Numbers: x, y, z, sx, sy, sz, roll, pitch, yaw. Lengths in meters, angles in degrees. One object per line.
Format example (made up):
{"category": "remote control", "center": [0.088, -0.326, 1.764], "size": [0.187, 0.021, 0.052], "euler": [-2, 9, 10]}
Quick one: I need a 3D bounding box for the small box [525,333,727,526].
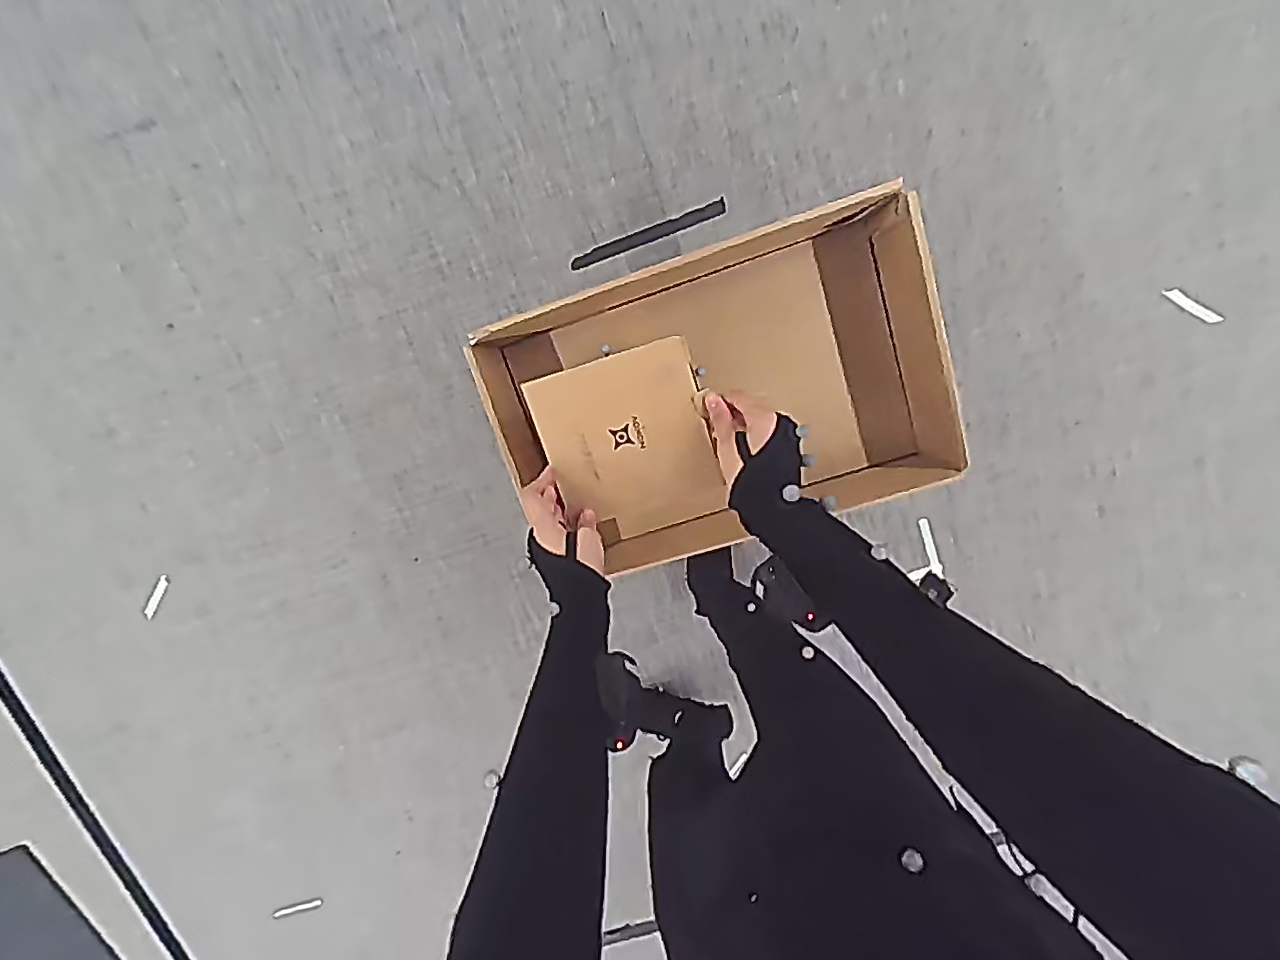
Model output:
{"category": "small box", "center": [-0.010, -0.067, 0.636], "size": [0.179, 0.176, 0.168], "euler": [-16, 102, 7]}
